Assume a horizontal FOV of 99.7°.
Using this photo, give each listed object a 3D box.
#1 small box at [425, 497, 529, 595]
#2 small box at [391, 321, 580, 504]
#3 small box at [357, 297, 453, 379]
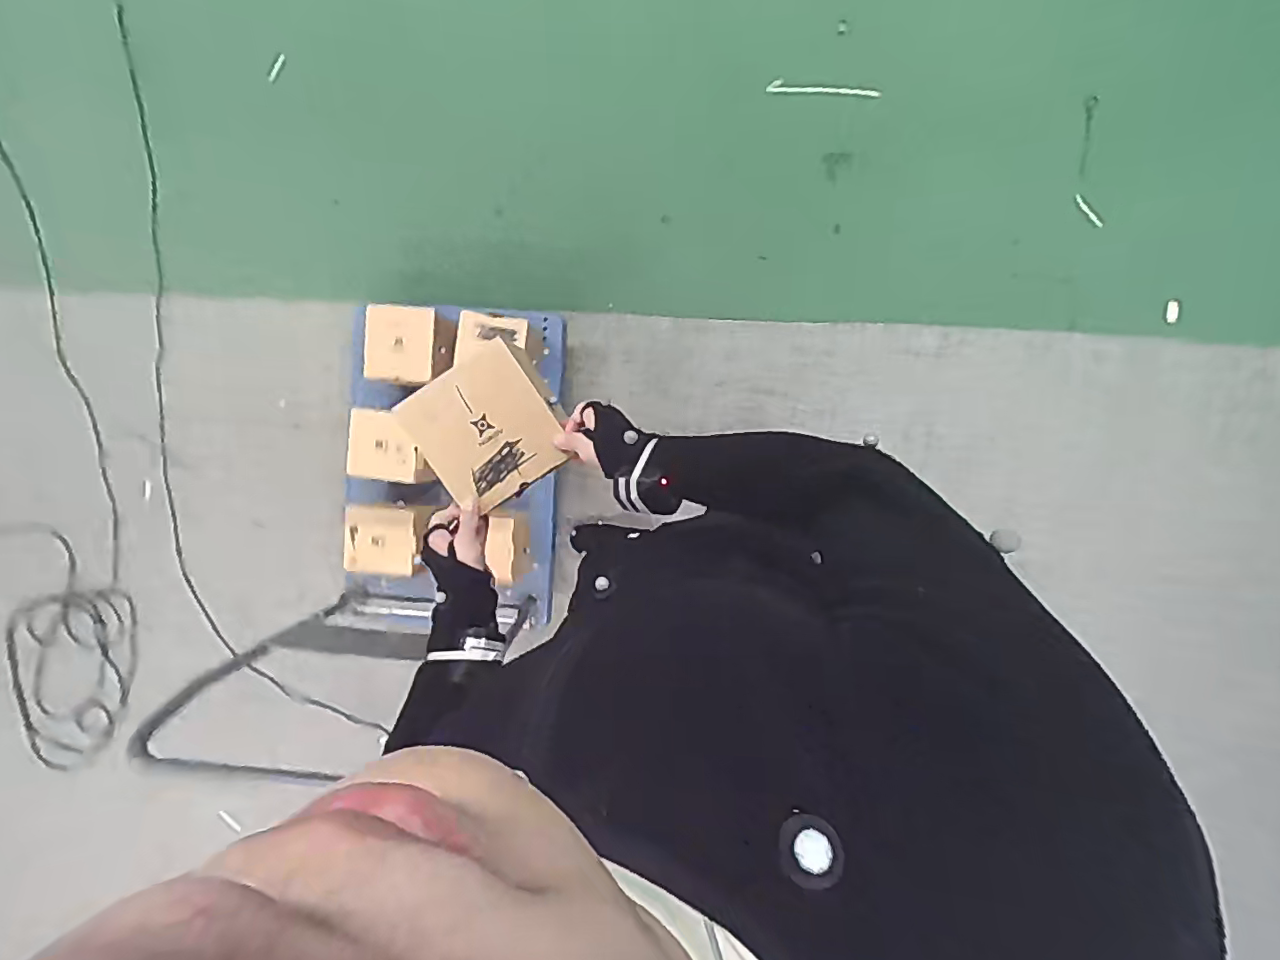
[{"bbox_3d":[-0.407,0.159,1.385,0.168,0.176,0.179,34,95,-2],"label":"small box"},{"bbox_3d":[-0.194,-0.094,0.744,0.168,0.176,0.179,-32,99,1],"label":"small box"},{"bbox_3d":[-0.582,-0.344,1.356,0.168,0.176,0.179,5,94,1],"label":"small box"}]
